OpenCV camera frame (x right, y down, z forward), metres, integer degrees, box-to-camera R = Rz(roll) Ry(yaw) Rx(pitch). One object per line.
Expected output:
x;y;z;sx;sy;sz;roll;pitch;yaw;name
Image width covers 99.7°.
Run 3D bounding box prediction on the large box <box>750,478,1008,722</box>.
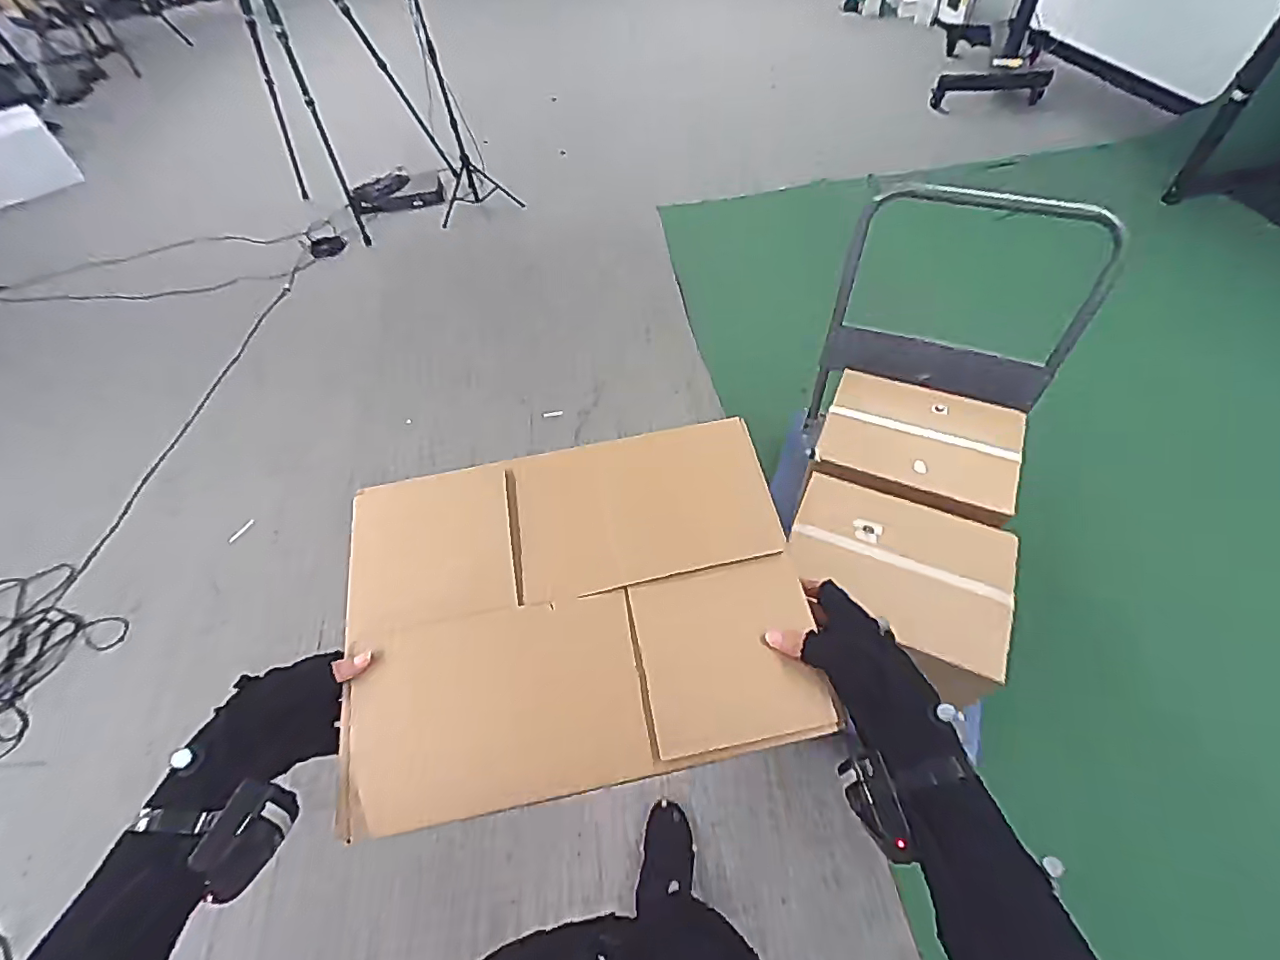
0.485;0.255;1.149;0.408;0.320;0.320;19;57;19;large box
